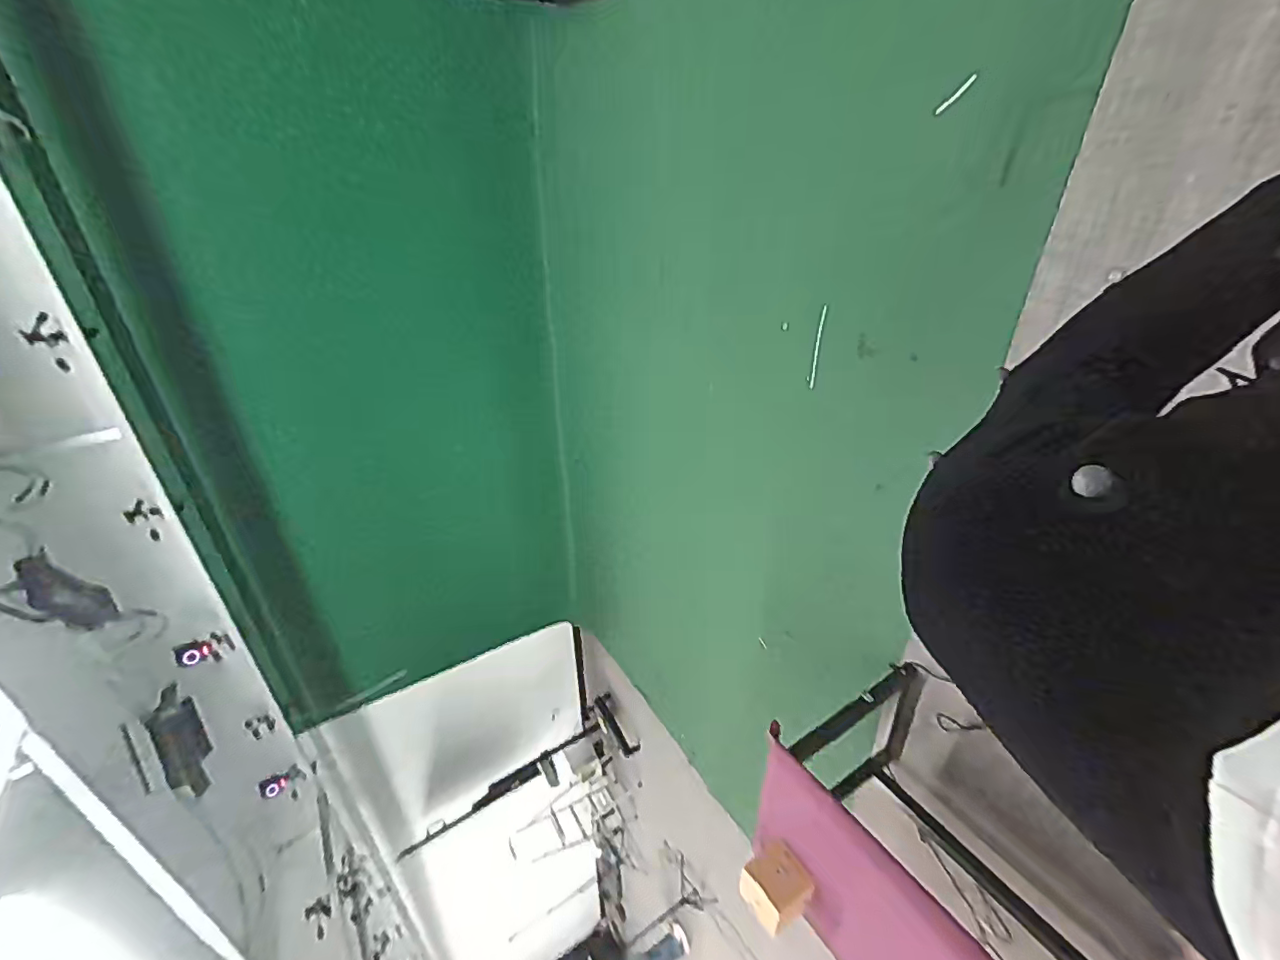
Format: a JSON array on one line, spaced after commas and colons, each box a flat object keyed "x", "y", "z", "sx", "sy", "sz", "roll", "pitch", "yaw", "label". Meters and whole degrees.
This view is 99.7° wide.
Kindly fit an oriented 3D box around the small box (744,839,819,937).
[{"x": 0.472, "y": 1.354, "z": 1.805, "sx": 0.168, "sy": 0.176, "sz": 0.179, "roll": 37, "pitch": 136, "yaw": 48, "label": "small box"}]
